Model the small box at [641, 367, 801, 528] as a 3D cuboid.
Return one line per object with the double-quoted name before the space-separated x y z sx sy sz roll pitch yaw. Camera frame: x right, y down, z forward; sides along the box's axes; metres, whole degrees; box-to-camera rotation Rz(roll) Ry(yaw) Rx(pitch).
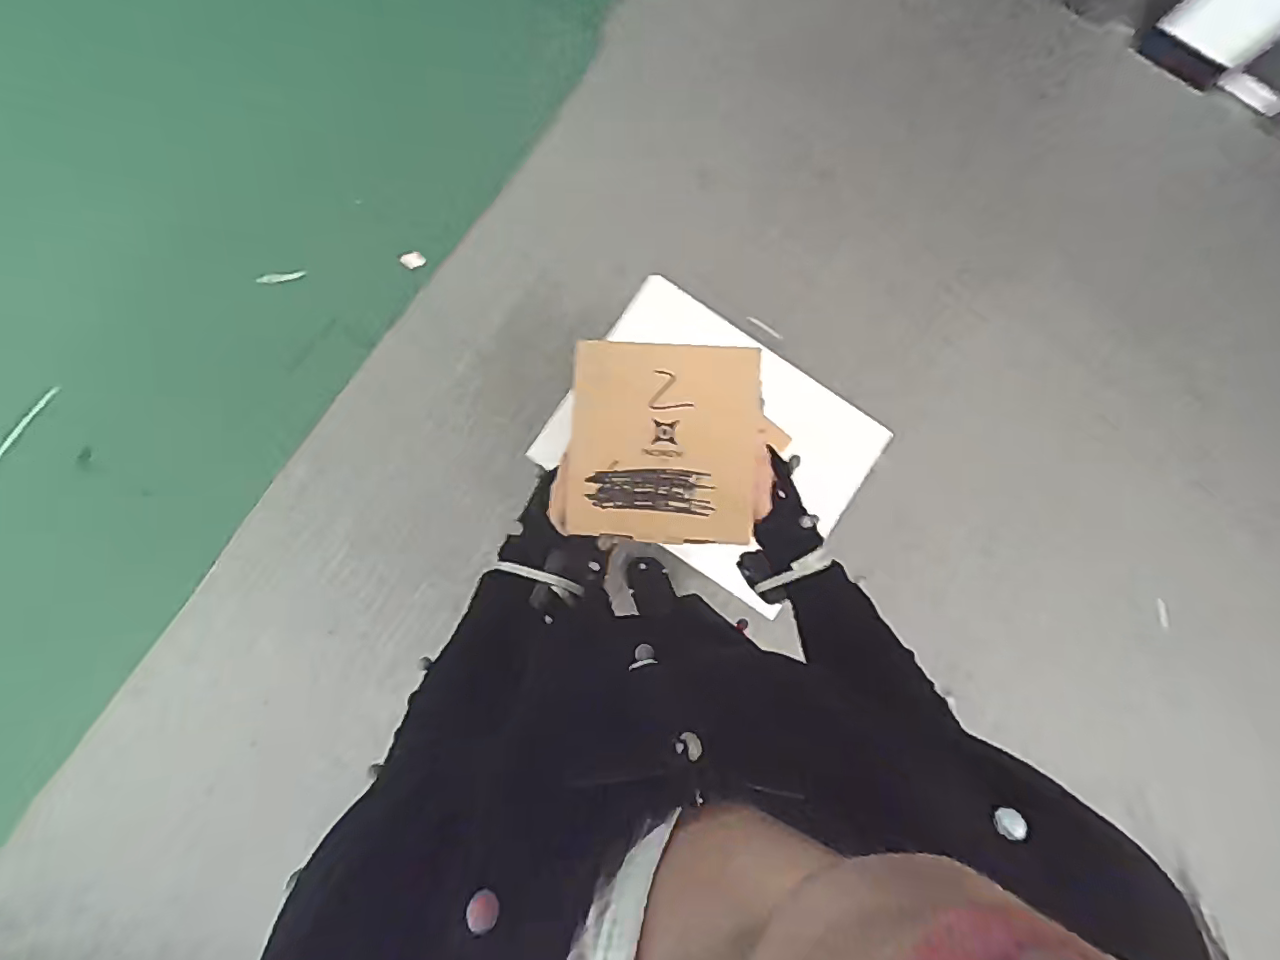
"small box" 0.113 -0.042 0.847 0.168 0.176 0.179 41 84 2
